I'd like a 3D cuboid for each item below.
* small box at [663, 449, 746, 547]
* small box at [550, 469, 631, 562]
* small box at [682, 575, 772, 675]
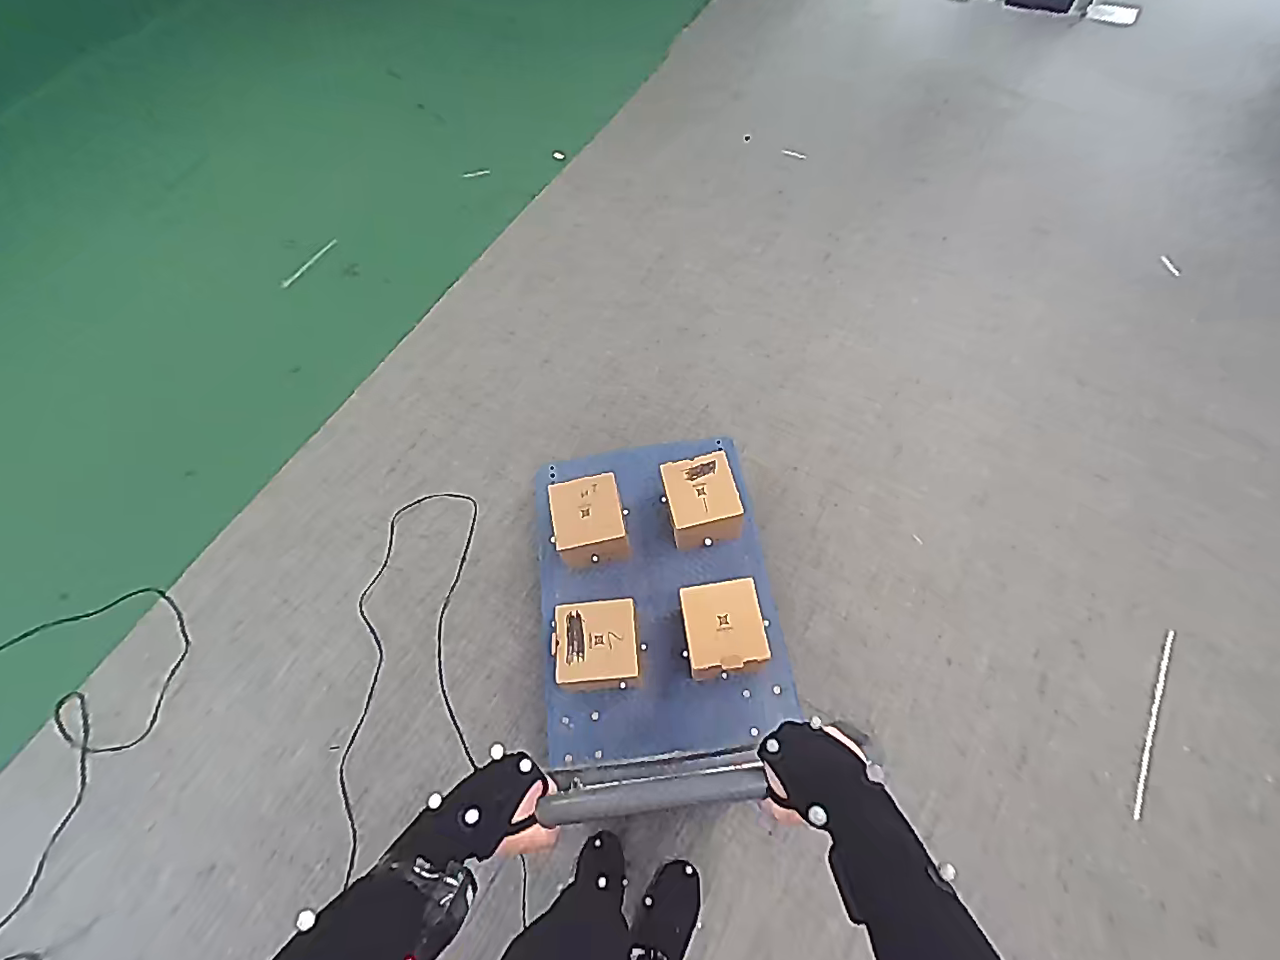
[{"bbox_3d":[0.156,0.049,1.359,0.168,0.176,0.179,-13,64,0],"label":"small box"},{"bbox_3d":[-0.119,0.098,1.360,0.168,0.176,0.179,-11,64,-1],"label":"small box"},{"bbox_3d":[0.187,0.332,1.221,0.168,0.176,0.179,-9,64,1],"label":"small box"}]
